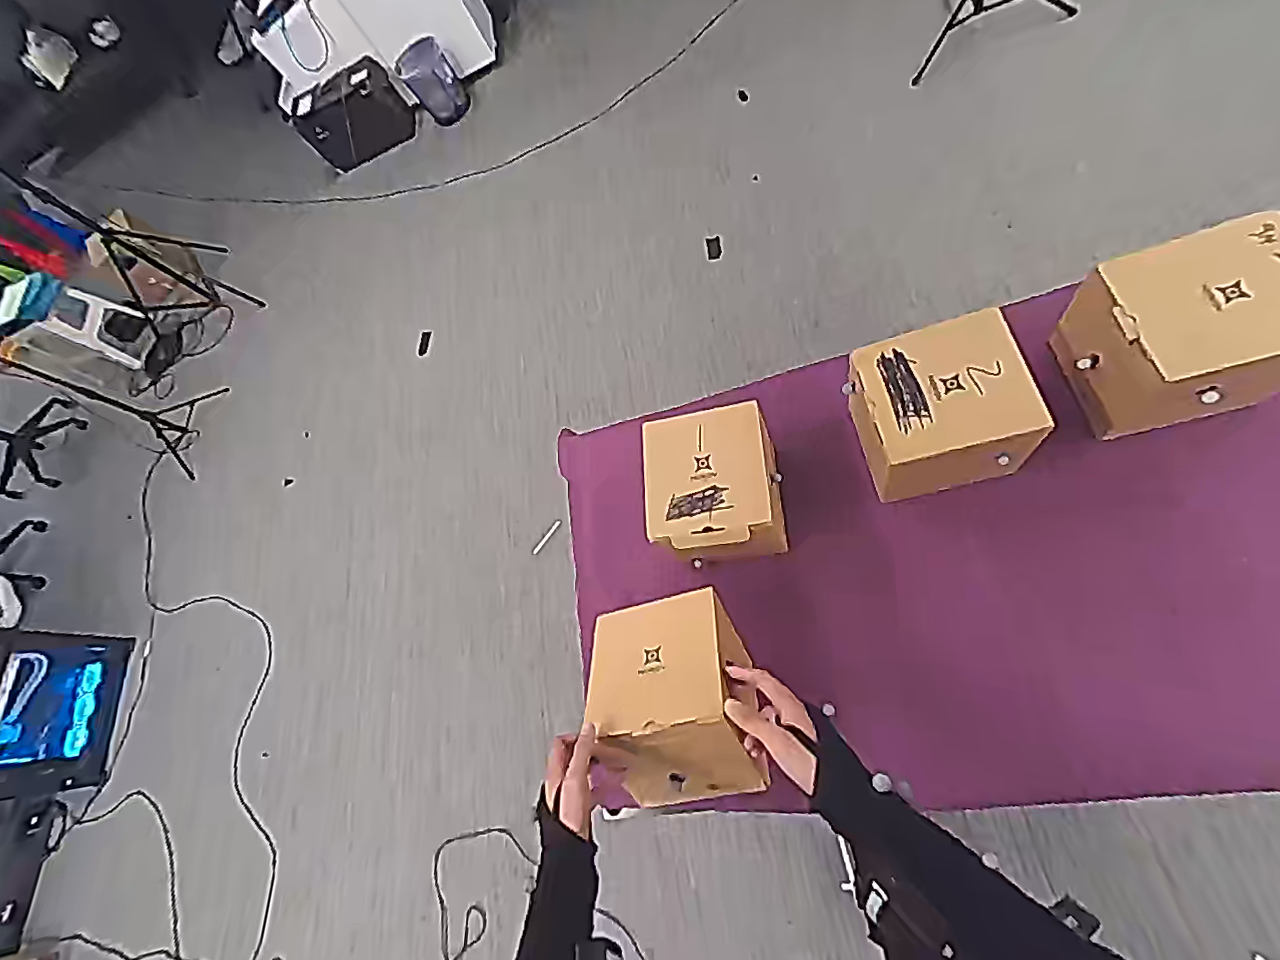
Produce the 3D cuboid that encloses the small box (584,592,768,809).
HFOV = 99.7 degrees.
[{"bbox_3d":[0.049,0.274,0.674,0.168,0.176,0.179,-18,34,15],"label":"small box"}]

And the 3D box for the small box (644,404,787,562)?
[{"bbox_3d":[0.113,0.017,0.782,0.168,0.176,0.179,-10,67,18],"label":"small box"}]
